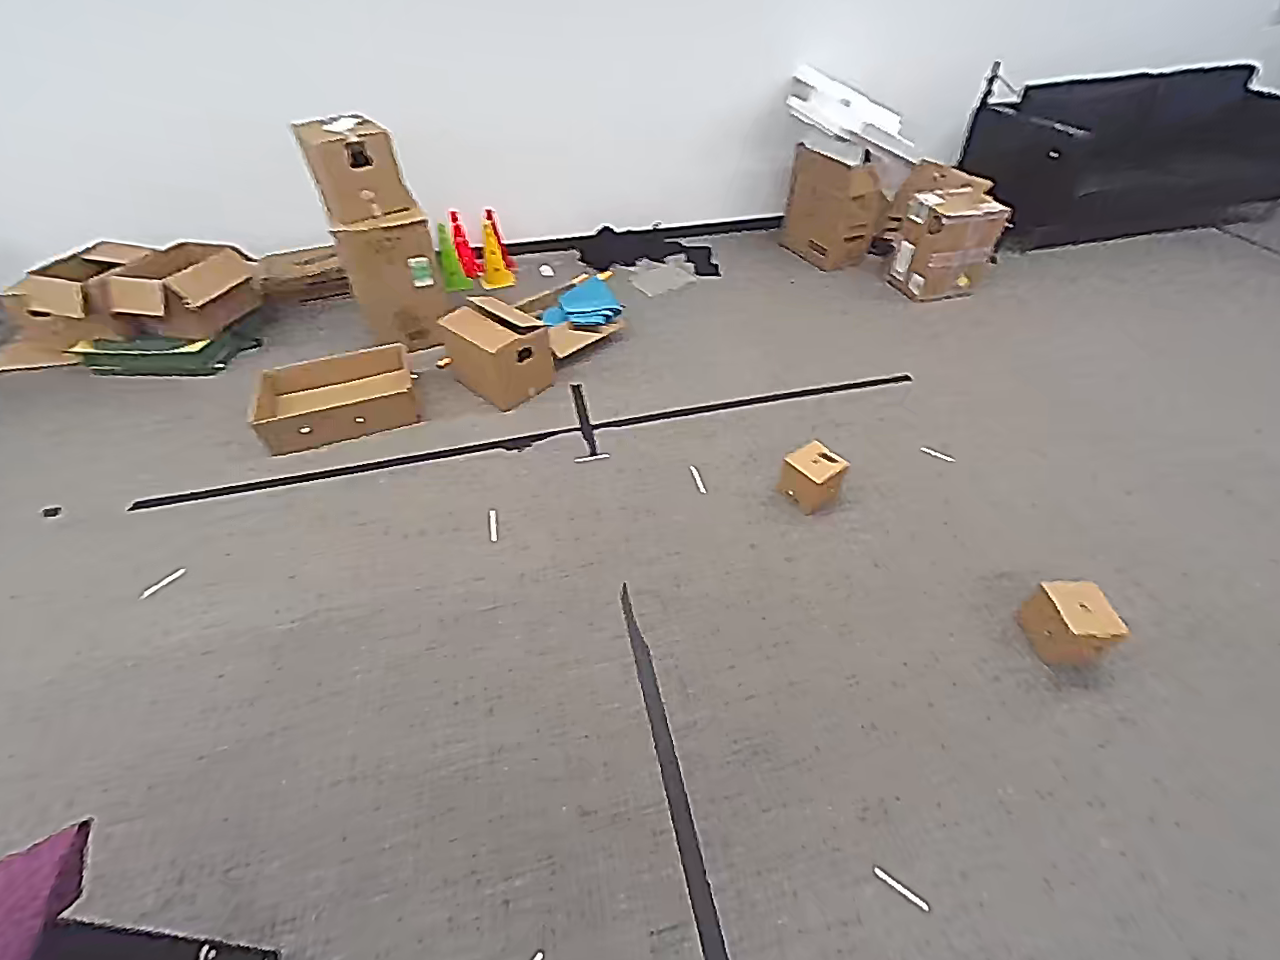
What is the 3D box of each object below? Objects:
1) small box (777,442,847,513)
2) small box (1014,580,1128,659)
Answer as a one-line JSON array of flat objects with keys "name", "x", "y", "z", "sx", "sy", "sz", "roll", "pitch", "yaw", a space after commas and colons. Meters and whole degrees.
[{"name": "small box", "x": 0.641, "y": -0.009, "z": 2.036, "sx": 0.179, "sy": 0.176, "sz": 0.168, "roll": -29, "pitch": 51, "yaw": -24}, {"name": "small box", "x": 1.270, "y": 0.418, "z": 1.608, "sx": 0.168, "sy": 0.176, "sz": 0.179, "roll": 0, "pitch": 44, "yaw": -2}]
